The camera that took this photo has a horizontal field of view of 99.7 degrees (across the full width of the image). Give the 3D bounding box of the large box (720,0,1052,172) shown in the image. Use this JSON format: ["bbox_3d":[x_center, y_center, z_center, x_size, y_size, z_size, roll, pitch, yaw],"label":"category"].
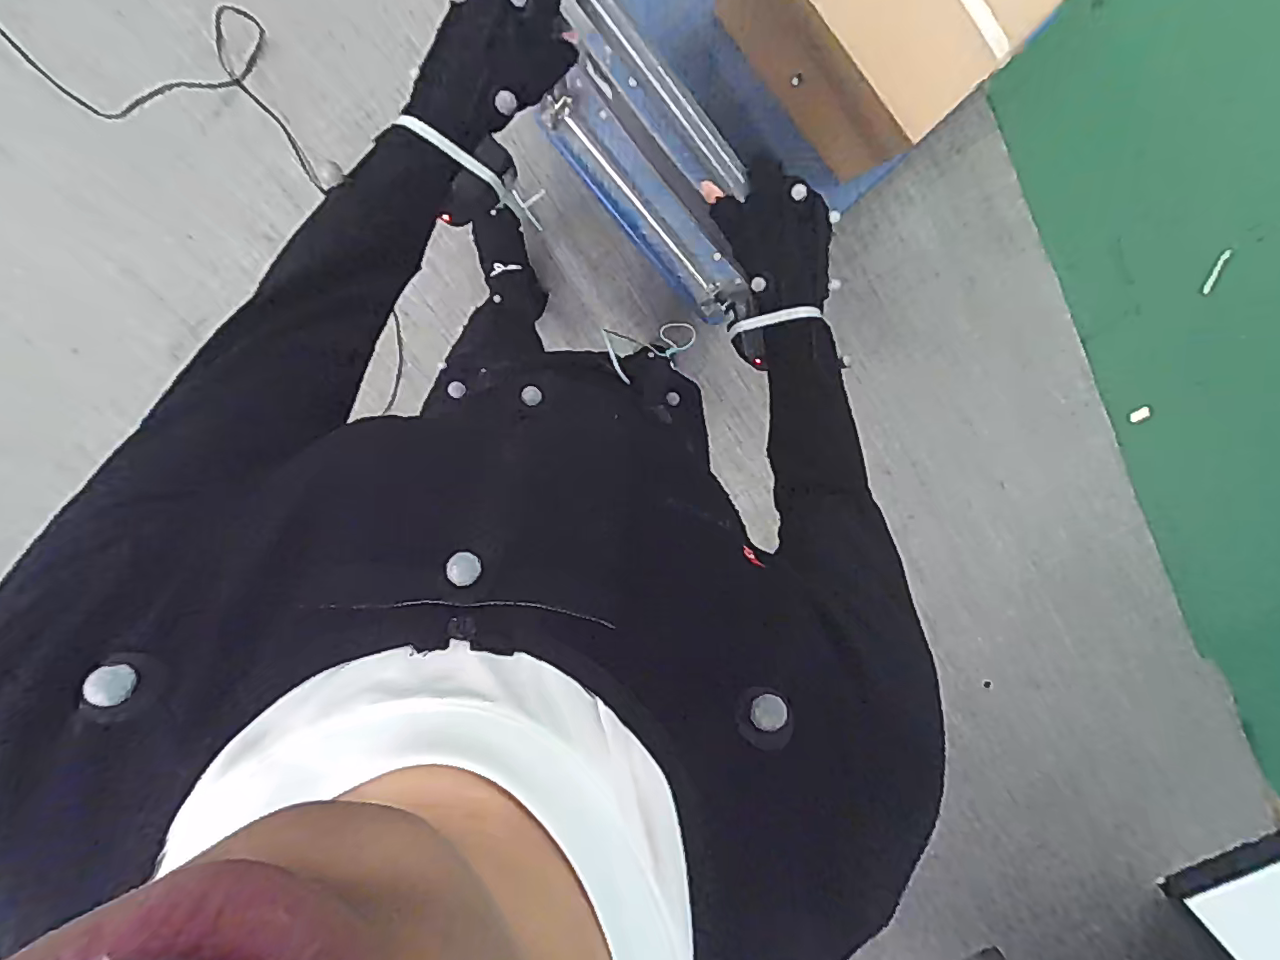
[{"bbox_3d":[0.388,-0.804,0.883,0.320,0.320,0.408,-43,103,13],"label":"large box"}]
